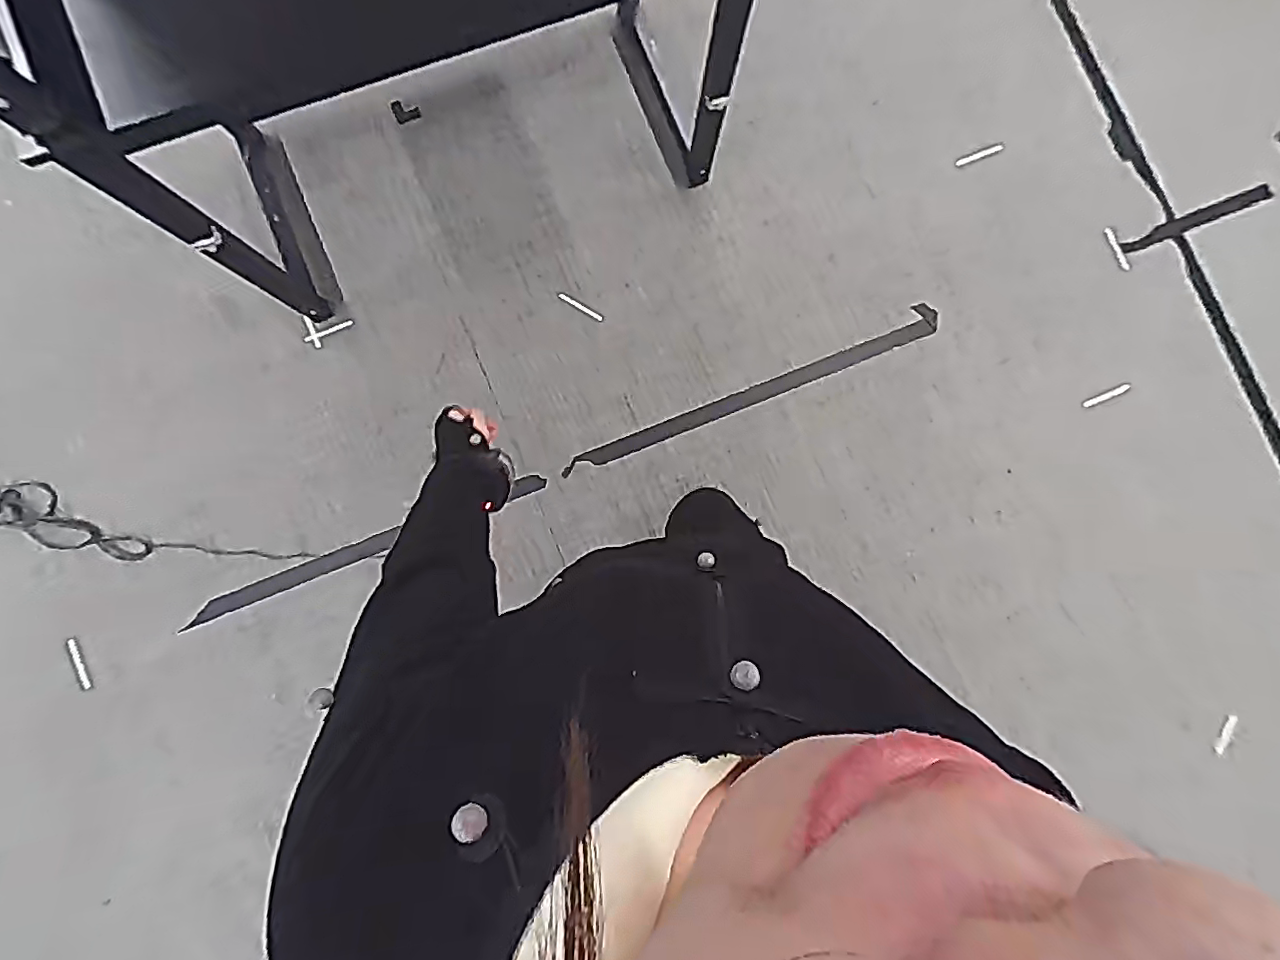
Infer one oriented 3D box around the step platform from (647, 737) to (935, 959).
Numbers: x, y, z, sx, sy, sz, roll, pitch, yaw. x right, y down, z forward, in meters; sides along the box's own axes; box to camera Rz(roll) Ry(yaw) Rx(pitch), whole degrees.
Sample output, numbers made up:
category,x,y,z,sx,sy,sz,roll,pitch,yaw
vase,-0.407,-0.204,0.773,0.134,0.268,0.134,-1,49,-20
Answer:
category,x,y,z,sx,sy,sz,roll,pitch,yaw
step platform,0.367,0.910,1.361,0.684,0.204,0.286,-17,87,-4
